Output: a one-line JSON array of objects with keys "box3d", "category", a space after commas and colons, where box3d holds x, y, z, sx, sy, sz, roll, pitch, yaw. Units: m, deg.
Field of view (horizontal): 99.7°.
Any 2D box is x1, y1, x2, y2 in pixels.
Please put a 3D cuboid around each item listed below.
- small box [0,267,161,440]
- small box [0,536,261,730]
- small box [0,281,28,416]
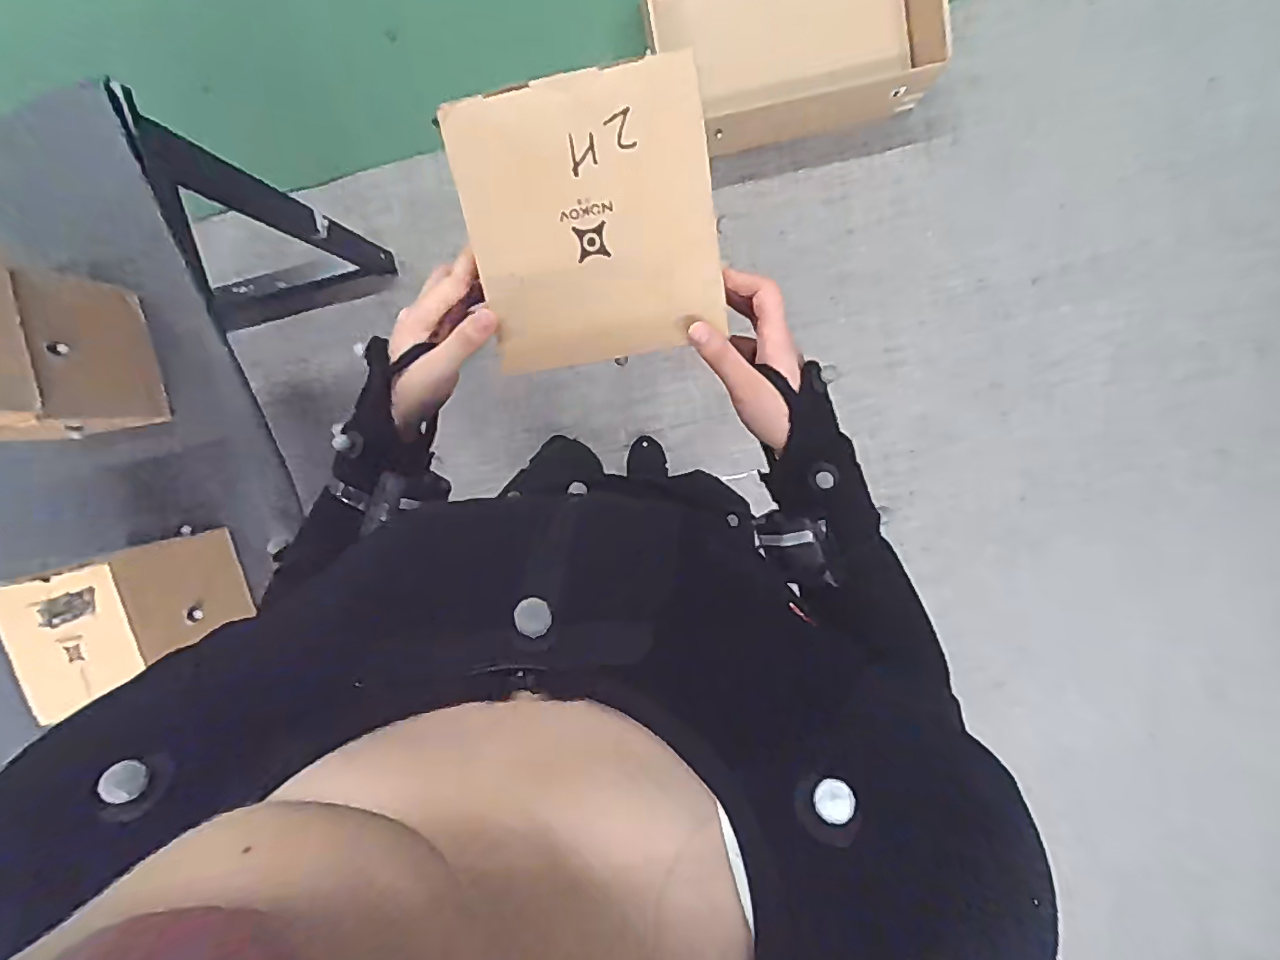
[{"box3d": [-0.735, -0.143, 0.648, 0.168, 0.176, 0.179, -10, 97, 3], "category": "small box"}, {"box3d": [-0.638, 0.180, 0.690, 0.168, 0.176, 0.179, -12, 99, 5], "category": "small box"}, {"box3d": [-0.727, -0.134, 0.483, 0.168, 0.176, 0.179, -7, 99, 3], "category": "small box"}]
